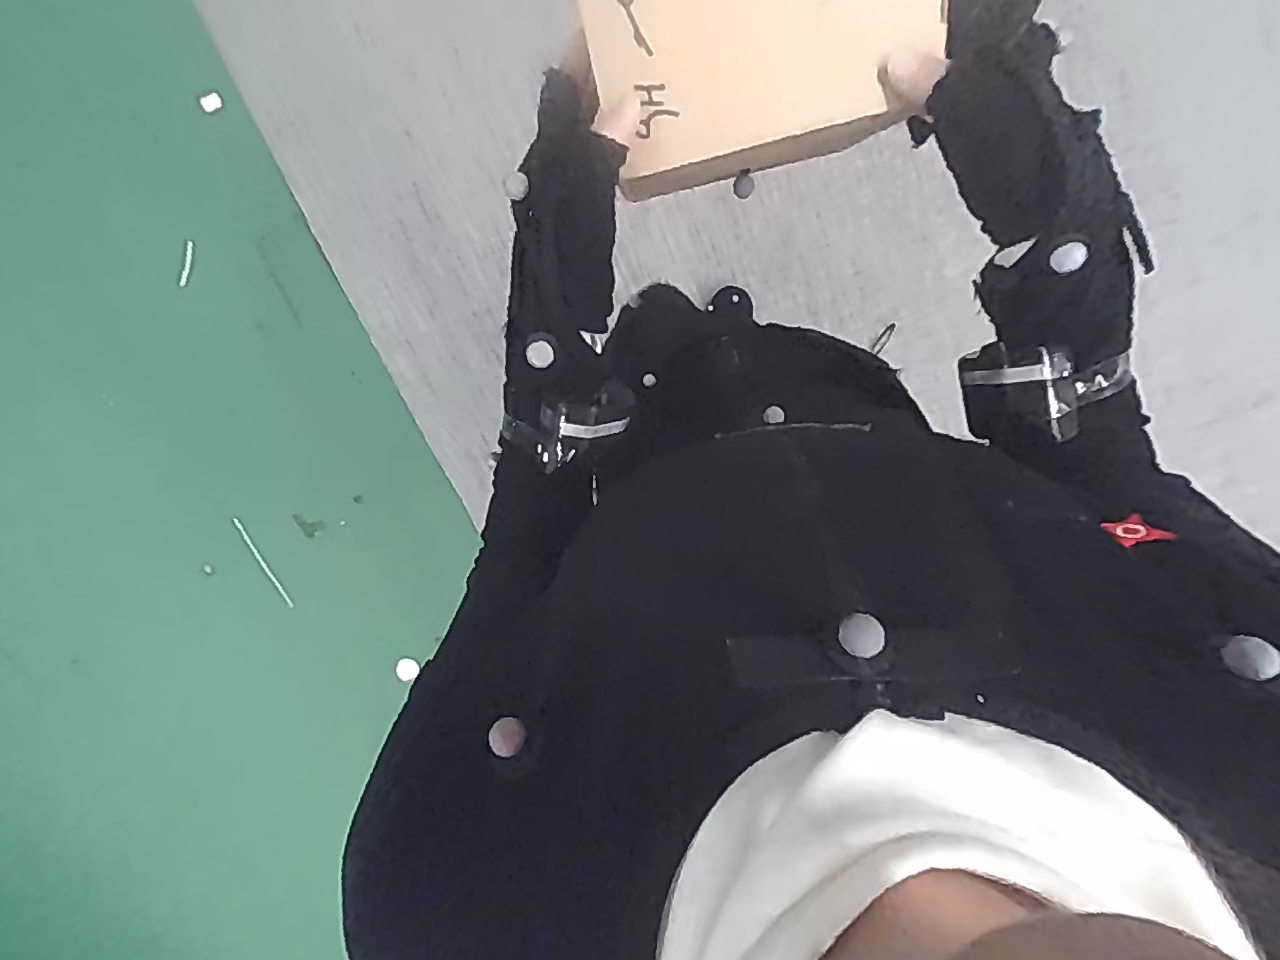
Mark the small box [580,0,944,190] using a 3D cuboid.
[{"bbox_3d":[0.054,-0.290,0.327,0.179,0.176,0.168,-11,112,5],"label":"small box"}]
